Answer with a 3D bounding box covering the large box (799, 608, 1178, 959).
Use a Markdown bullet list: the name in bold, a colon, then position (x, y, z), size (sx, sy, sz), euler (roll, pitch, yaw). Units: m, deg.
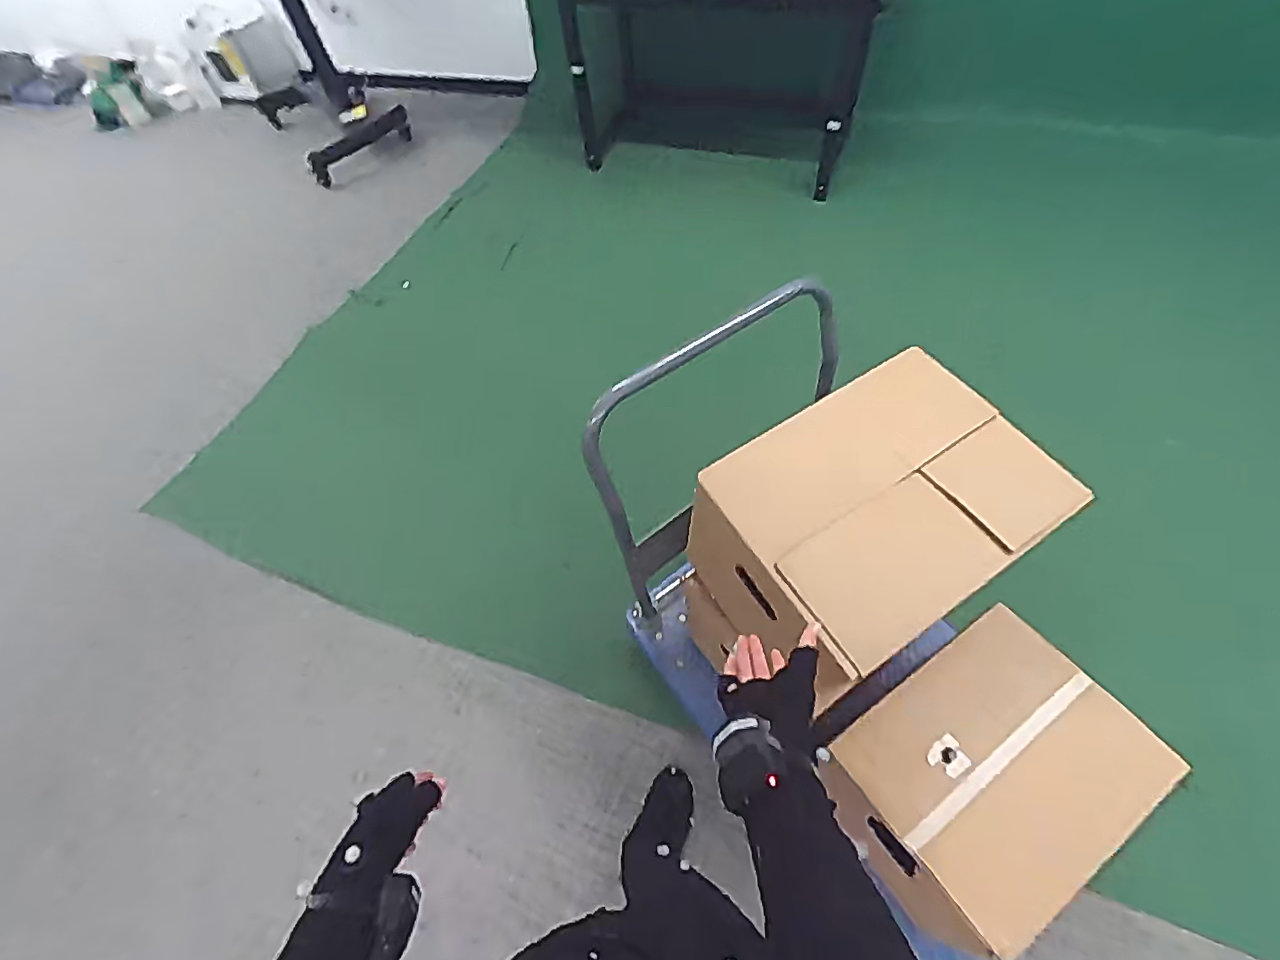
- **large box**: position (0.543, 0.496, 0.924), size (0.408, 0.320, 0.320), euler (-32, 58, -13)
